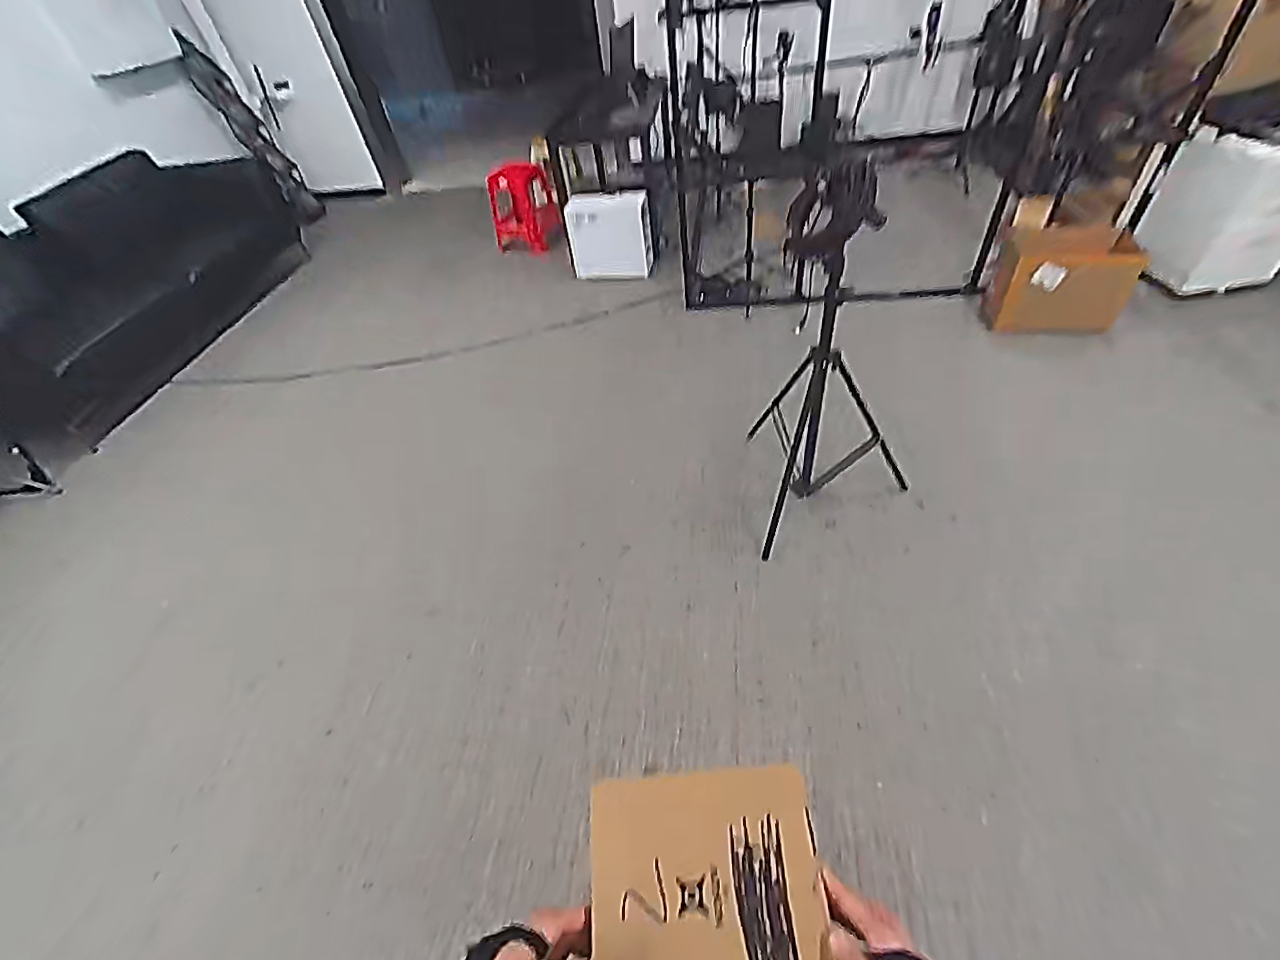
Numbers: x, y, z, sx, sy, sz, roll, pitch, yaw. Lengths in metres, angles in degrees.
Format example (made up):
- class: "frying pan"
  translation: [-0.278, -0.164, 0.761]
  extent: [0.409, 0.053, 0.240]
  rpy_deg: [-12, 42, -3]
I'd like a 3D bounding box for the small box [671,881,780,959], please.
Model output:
- class: "small box"
  translation: [0.148, 0.813, 0.943]
  extent: [0.179, 0.176, 0.168]
  rpy_deg: [-5, 46, 6]
